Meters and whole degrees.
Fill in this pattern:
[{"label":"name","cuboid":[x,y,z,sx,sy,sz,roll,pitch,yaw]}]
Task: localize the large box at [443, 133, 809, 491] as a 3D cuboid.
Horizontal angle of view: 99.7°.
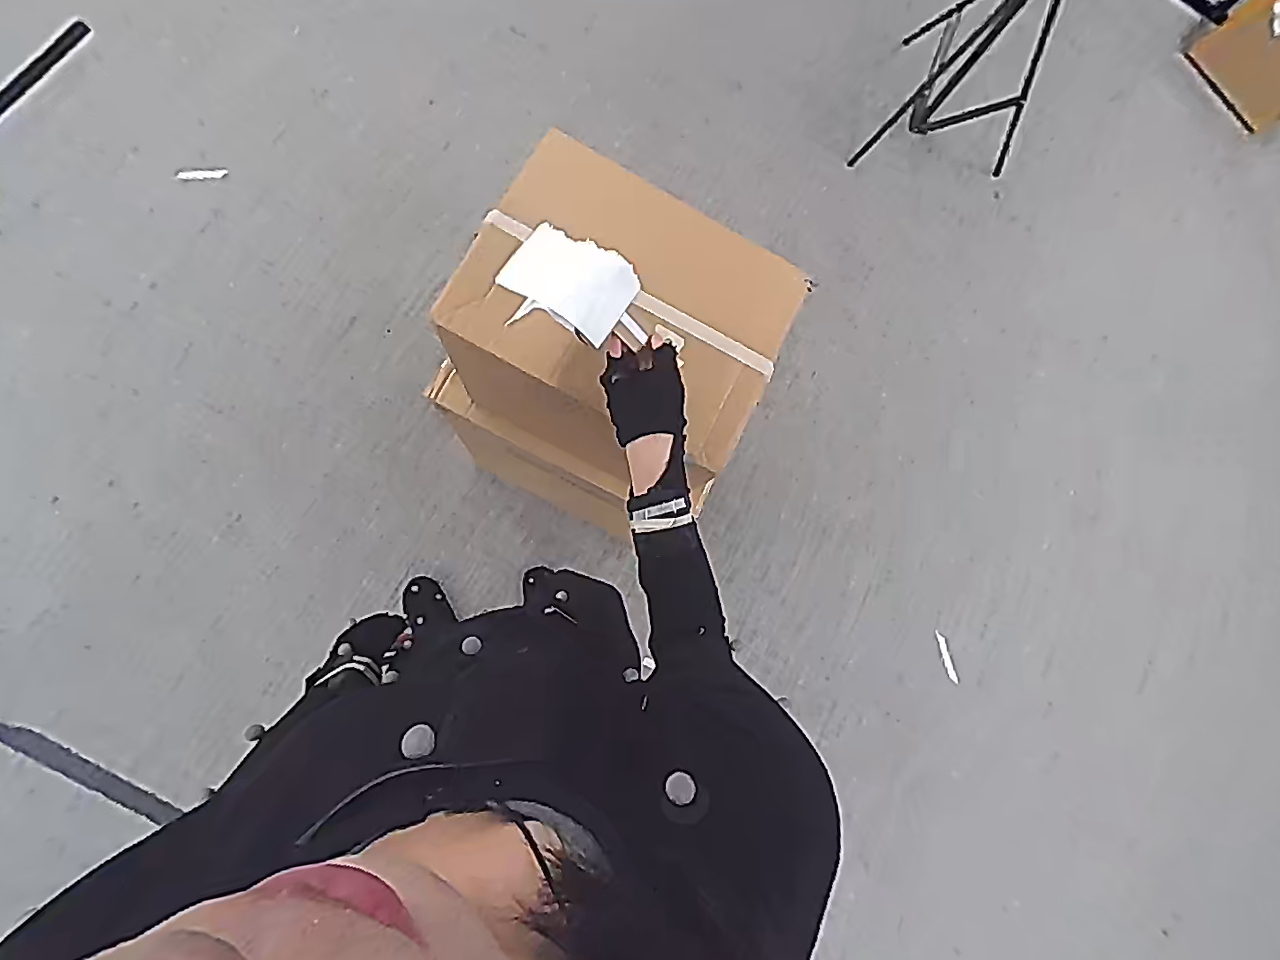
[{"label":"large box","cuboid":[-0.030,-0.222,0.848,0.408,0.320,0.320,28,78,-4]}]
